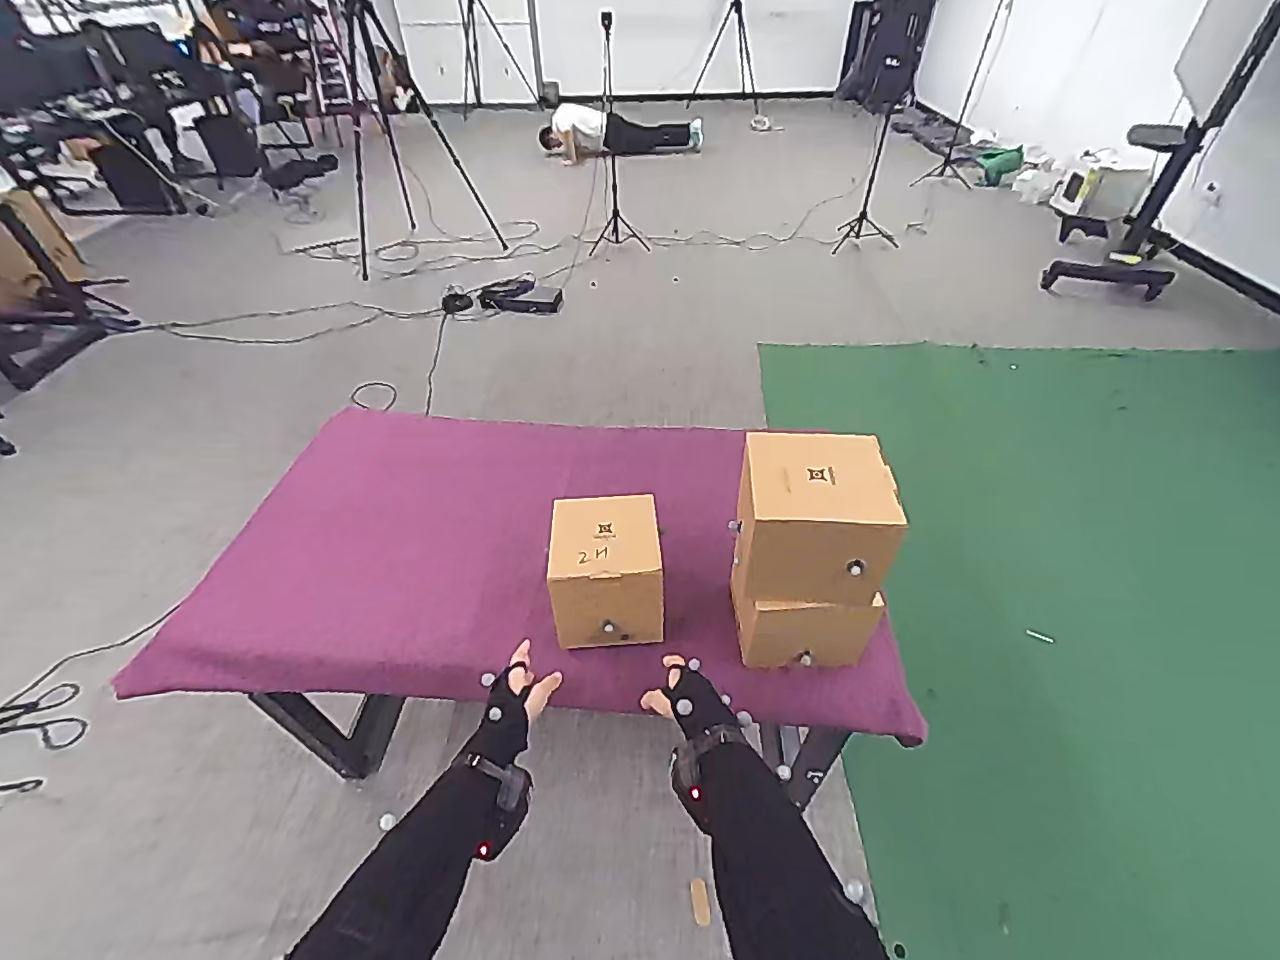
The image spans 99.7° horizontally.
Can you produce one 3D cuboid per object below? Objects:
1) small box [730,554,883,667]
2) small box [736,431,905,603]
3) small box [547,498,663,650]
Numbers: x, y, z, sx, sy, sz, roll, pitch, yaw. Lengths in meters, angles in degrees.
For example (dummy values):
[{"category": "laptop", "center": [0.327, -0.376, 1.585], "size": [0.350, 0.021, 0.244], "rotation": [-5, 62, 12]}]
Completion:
[{"category": "small box", "center": [0.243, 0.176, 0.840], "size": [0.179, 0.176, 0.168], "rotation": [-2, 43, 0]}, {"category": "small box", "center": [0.227, 0.052, 0.733], "size": [0.179, 0.176, 0.168], "rotation": [1, 44, 6]}, {"category": "small box", "center": [-0.052, 0.150, 0.875], "size": [0.168, 0.176, 0.179], "rotation": [-4, 40, -1]}]
